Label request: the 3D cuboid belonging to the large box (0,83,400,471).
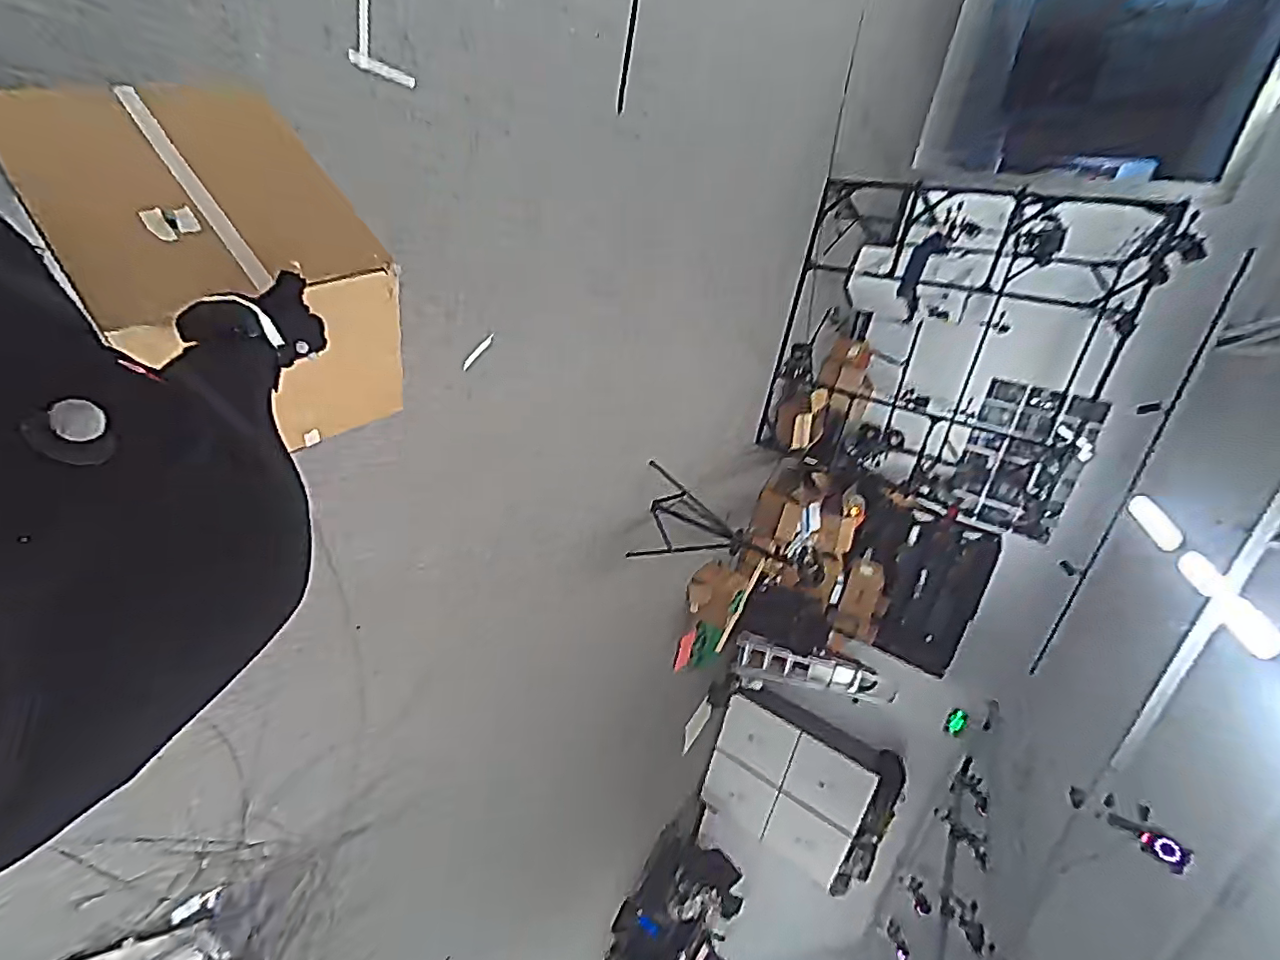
[{"bbox_3d":[-0.604,-0.294,0.793,0.320,0.408,0.320,-33,168,-33],"label":"large box"}]
